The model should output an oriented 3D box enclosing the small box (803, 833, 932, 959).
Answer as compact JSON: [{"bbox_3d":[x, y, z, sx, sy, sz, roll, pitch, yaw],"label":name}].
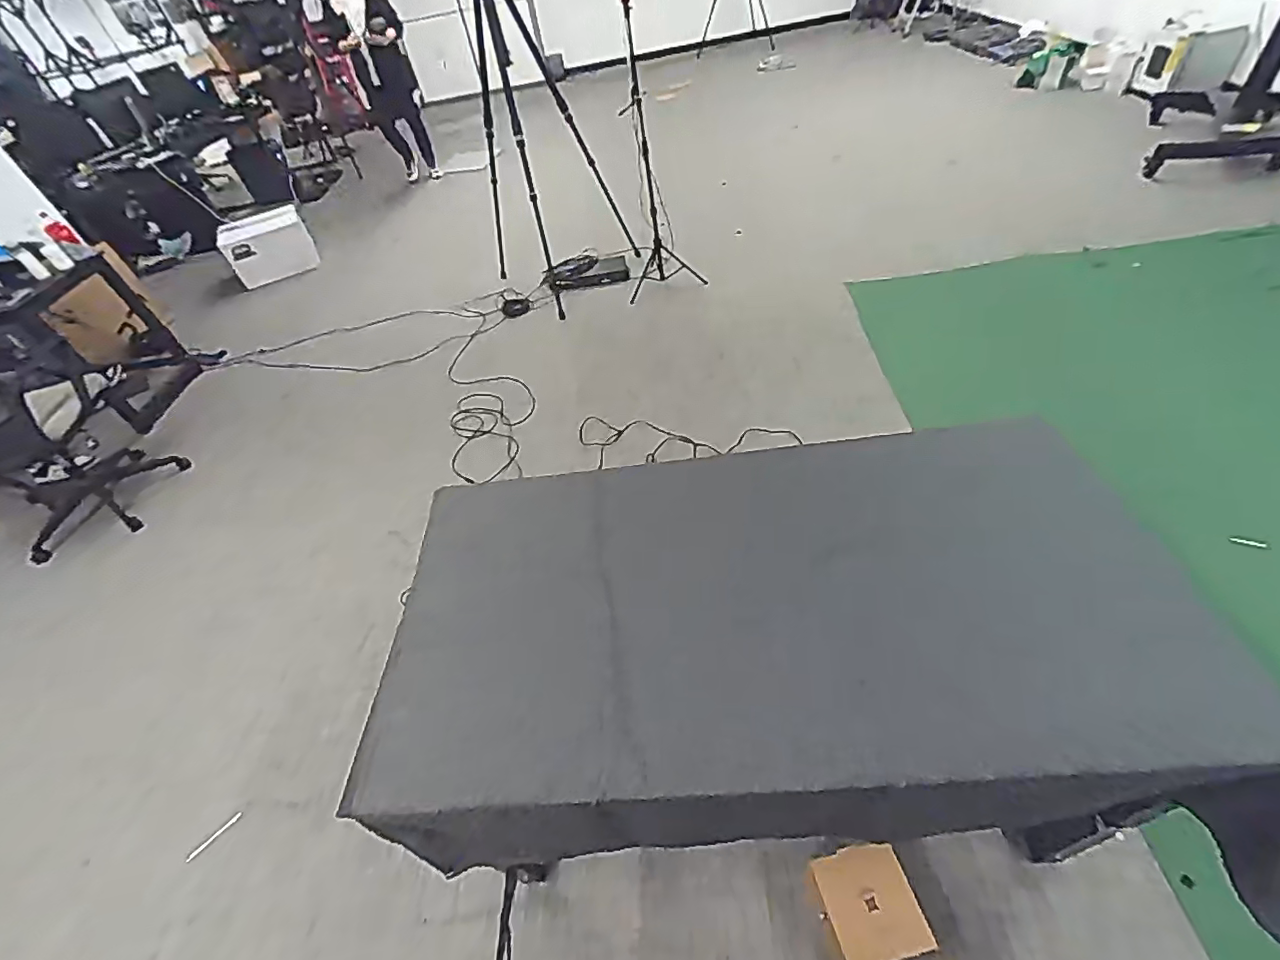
[{"bbox_3d":[0.437,0.840,1.075,0.168,0.176,0.179,-15,46,-3],"label":"small box"}]
